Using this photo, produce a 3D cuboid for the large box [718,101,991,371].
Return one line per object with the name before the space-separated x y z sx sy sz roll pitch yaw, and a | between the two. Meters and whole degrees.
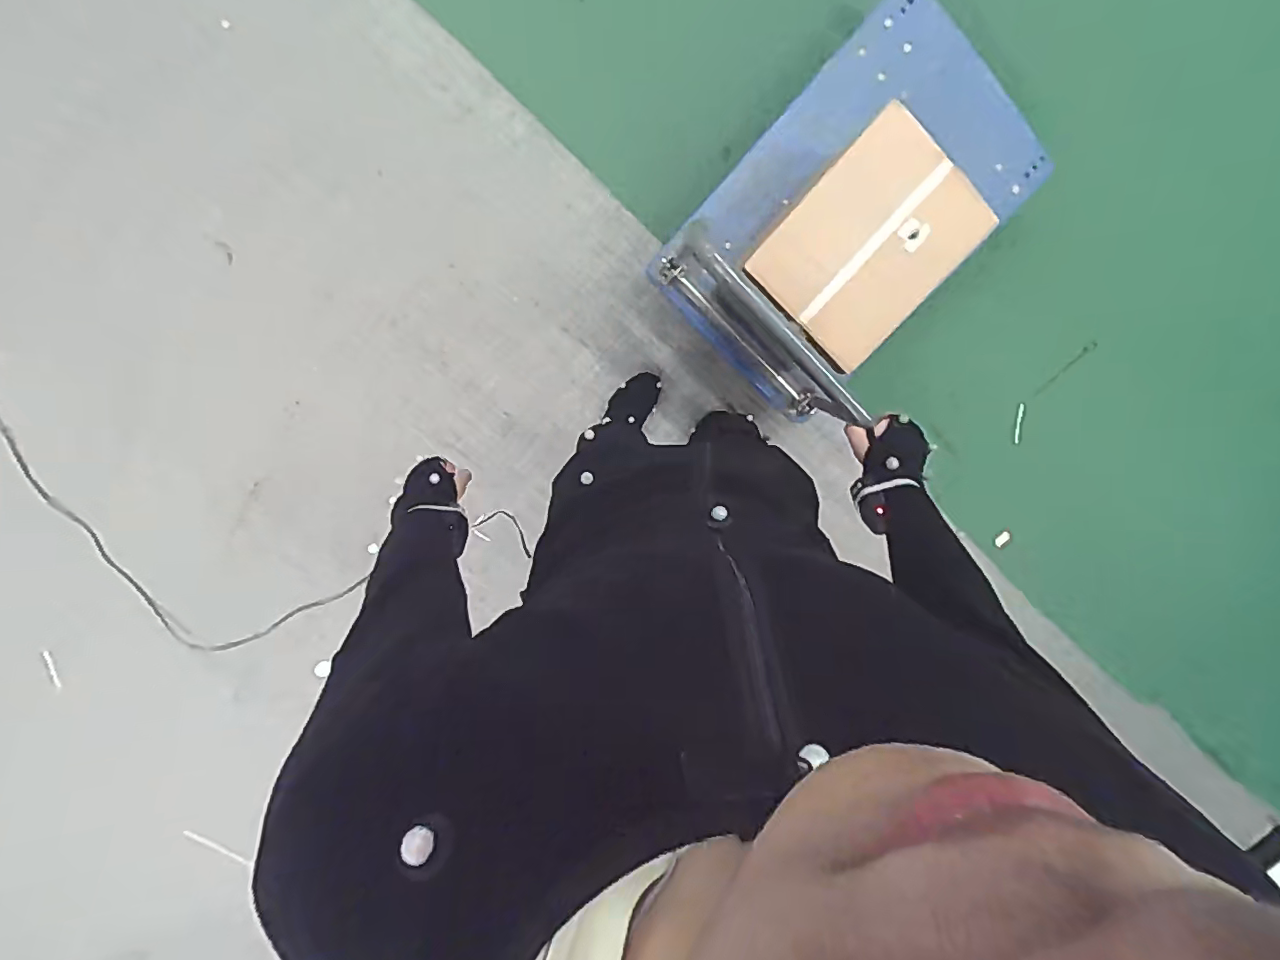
large box | 0.437 -0.494 1.197 0.320 0.320 0.408 42 98 -12
